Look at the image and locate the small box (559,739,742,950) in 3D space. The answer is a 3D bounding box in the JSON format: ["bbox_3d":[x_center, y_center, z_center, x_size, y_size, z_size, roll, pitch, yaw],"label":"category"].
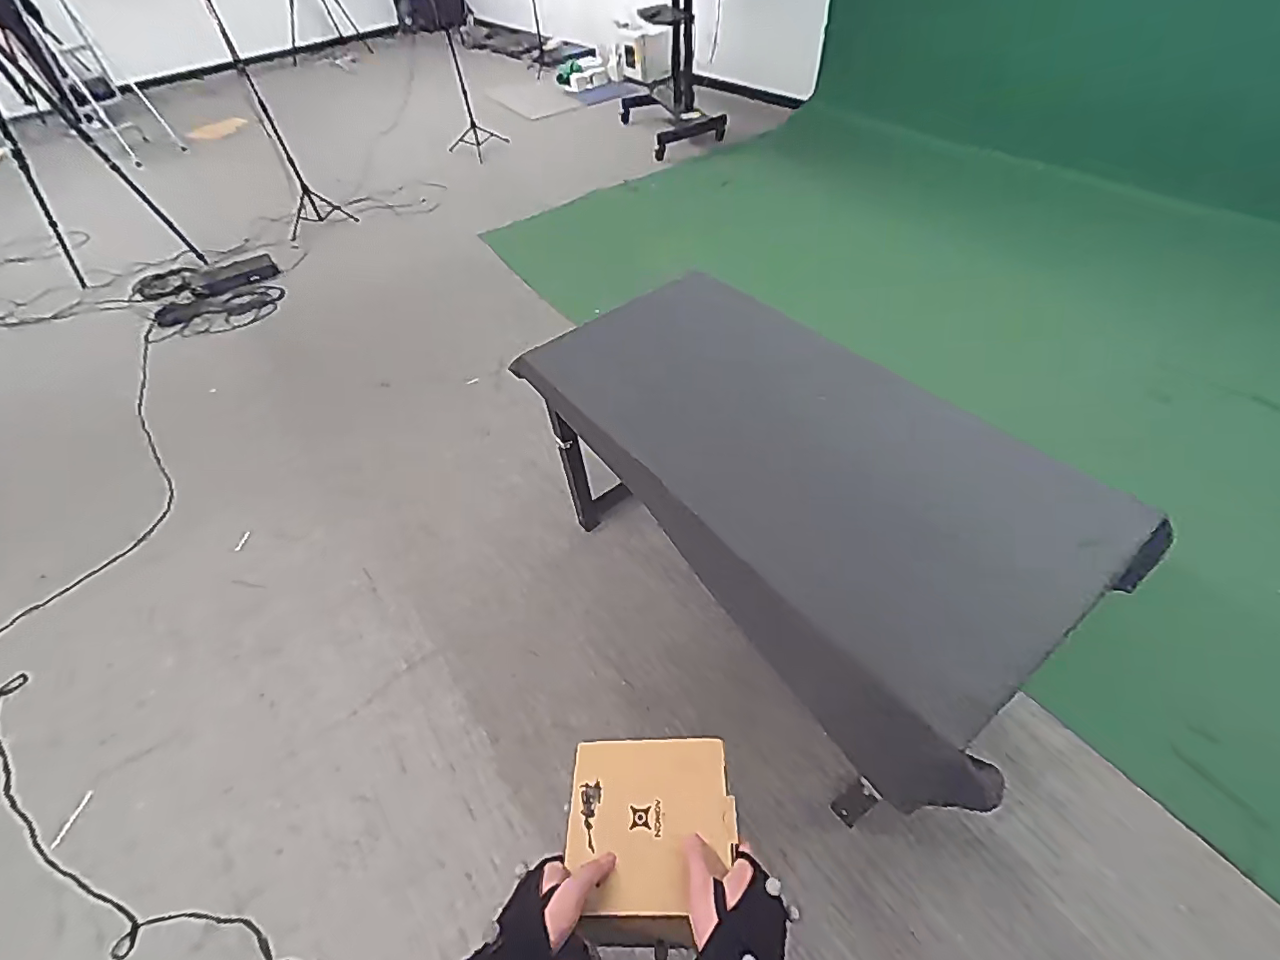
[{"bbox_3d":[0.017,0.416,0.621,0.179,0.176,0.168,-3,40,5],"label":"small box"}]
